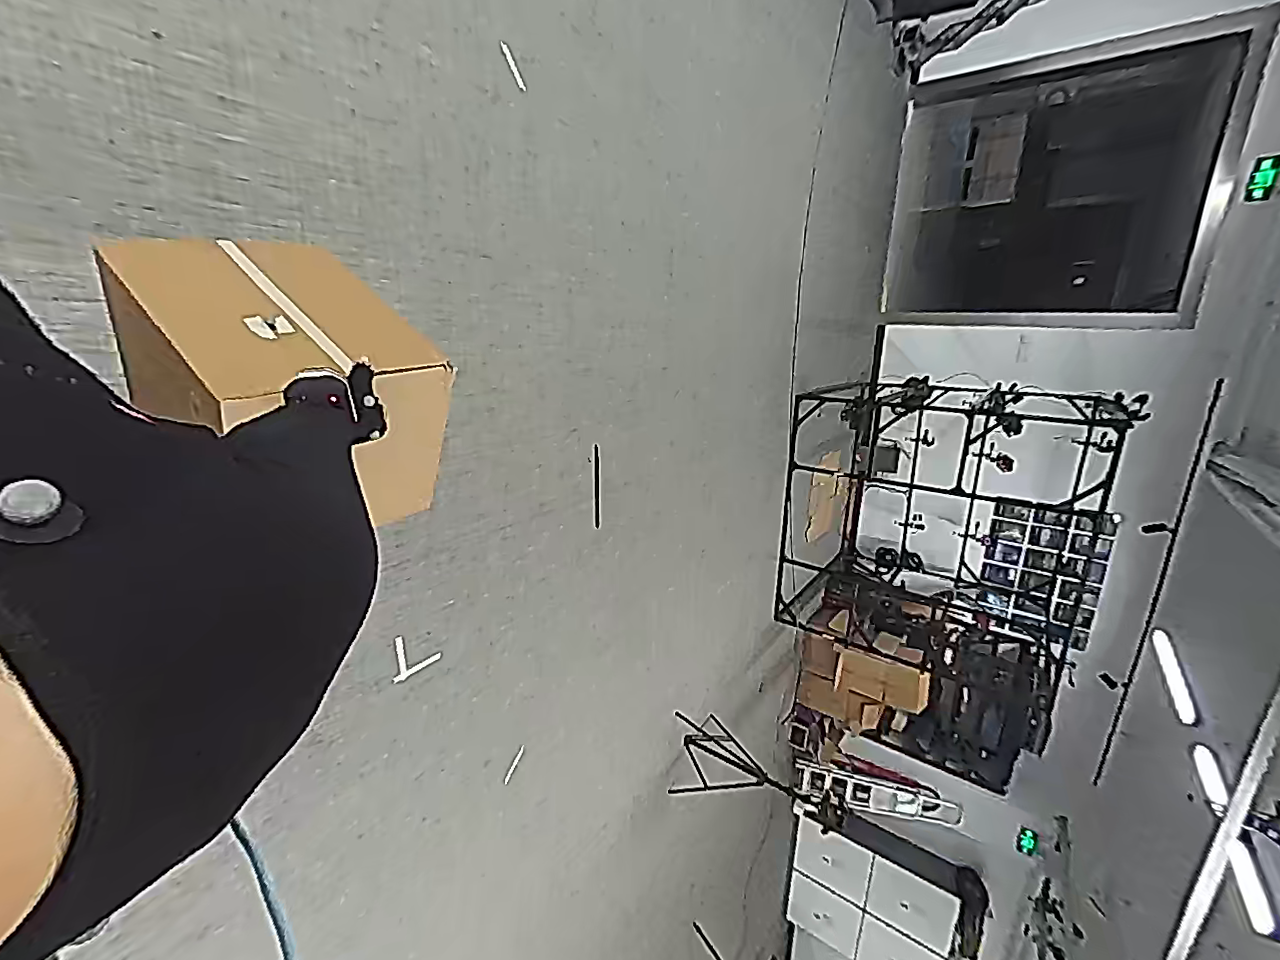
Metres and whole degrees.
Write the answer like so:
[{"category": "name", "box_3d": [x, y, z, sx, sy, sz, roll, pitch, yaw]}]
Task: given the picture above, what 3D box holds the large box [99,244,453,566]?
[{"category": "large box", "box_3d": [-0.583, -0.139, 0.889, 0.320, 0.408, 0.320, -26, 151, -48]}]
